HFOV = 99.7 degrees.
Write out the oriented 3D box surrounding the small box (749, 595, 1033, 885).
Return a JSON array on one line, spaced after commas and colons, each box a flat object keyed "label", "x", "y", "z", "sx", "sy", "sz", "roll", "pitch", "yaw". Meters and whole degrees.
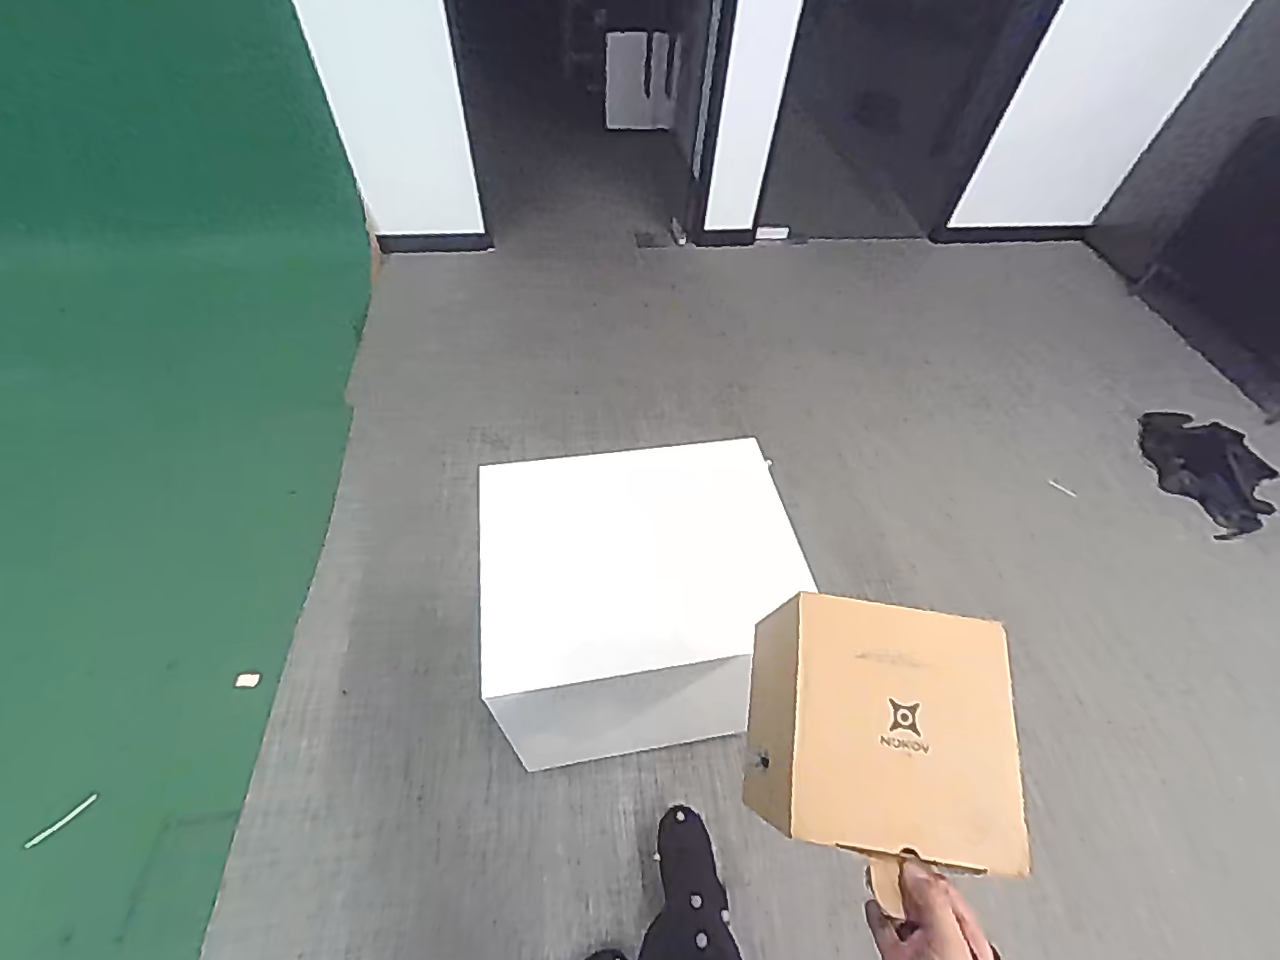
[{"label": "small box", "x": 0.195, "y": 0.215, "z": 0.473, "sx": 0.168, "sy": 0.176, "sz": 0.179, "roll": 8, "pitch": 65, "yaw": 2}]
